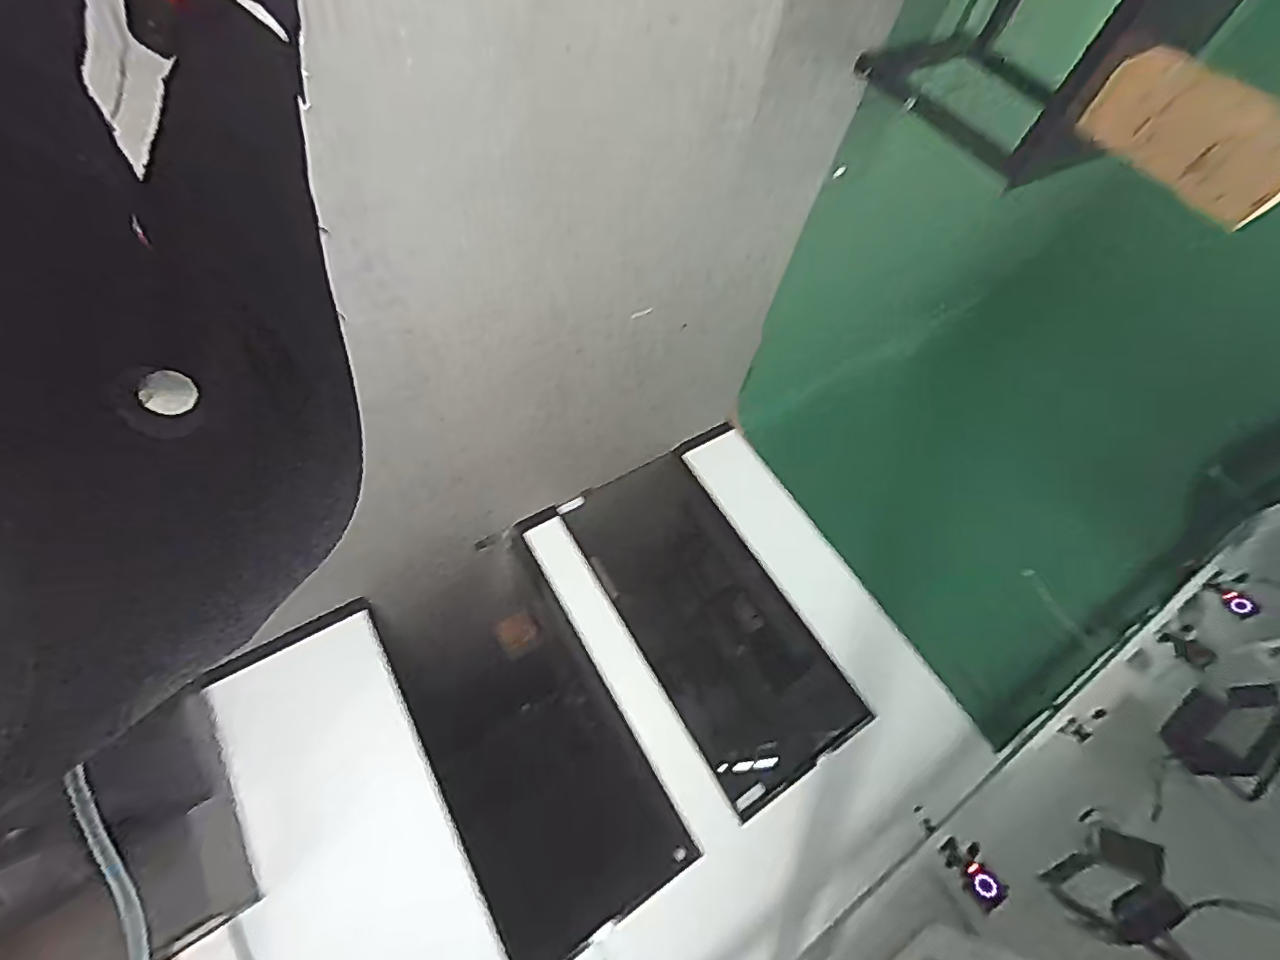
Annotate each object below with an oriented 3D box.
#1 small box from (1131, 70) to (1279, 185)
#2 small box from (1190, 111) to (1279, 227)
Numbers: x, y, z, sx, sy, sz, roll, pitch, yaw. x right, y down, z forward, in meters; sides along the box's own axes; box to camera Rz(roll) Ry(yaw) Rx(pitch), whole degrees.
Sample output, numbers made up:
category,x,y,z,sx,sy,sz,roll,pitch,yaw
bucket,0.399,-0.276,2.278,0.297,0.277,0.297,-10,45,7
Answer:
category,x,y,z,sx,sy,sz,roll,pitch,yaw
small box,1.447,-0.911,1.393,0.179,0.176,0.168,-30,158,-13
small box,1.542,-0.770,1.335,0.179,0.176,0.168,-30,159,-13
